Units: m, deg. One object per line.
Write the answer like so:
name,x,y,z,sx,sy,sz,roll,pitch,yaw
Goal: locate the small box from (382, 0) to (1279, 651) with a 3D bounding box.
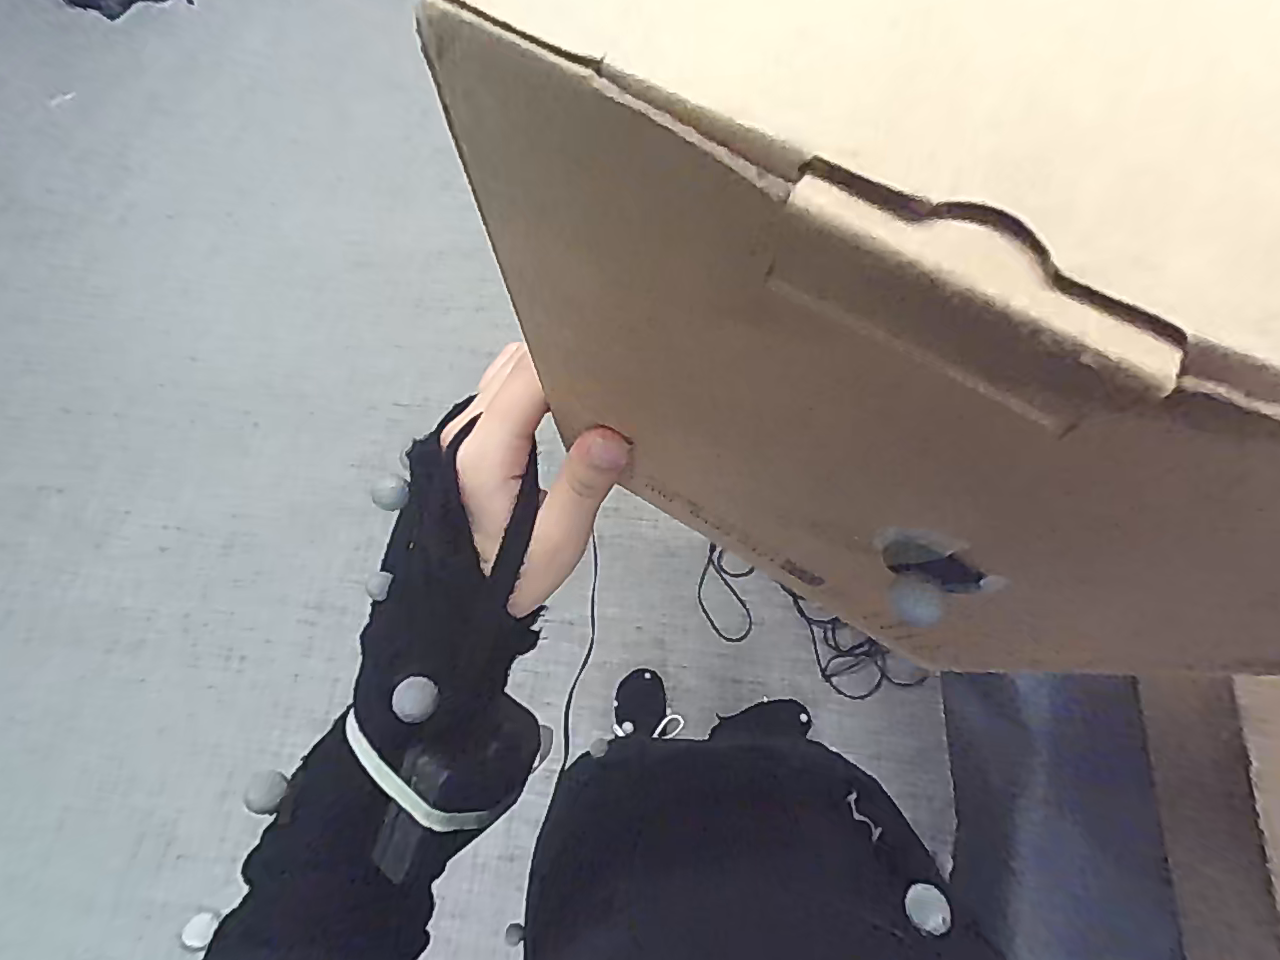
small box,0.077,-0.066,0.157,0.168,0.176,0.179,31,73,9
